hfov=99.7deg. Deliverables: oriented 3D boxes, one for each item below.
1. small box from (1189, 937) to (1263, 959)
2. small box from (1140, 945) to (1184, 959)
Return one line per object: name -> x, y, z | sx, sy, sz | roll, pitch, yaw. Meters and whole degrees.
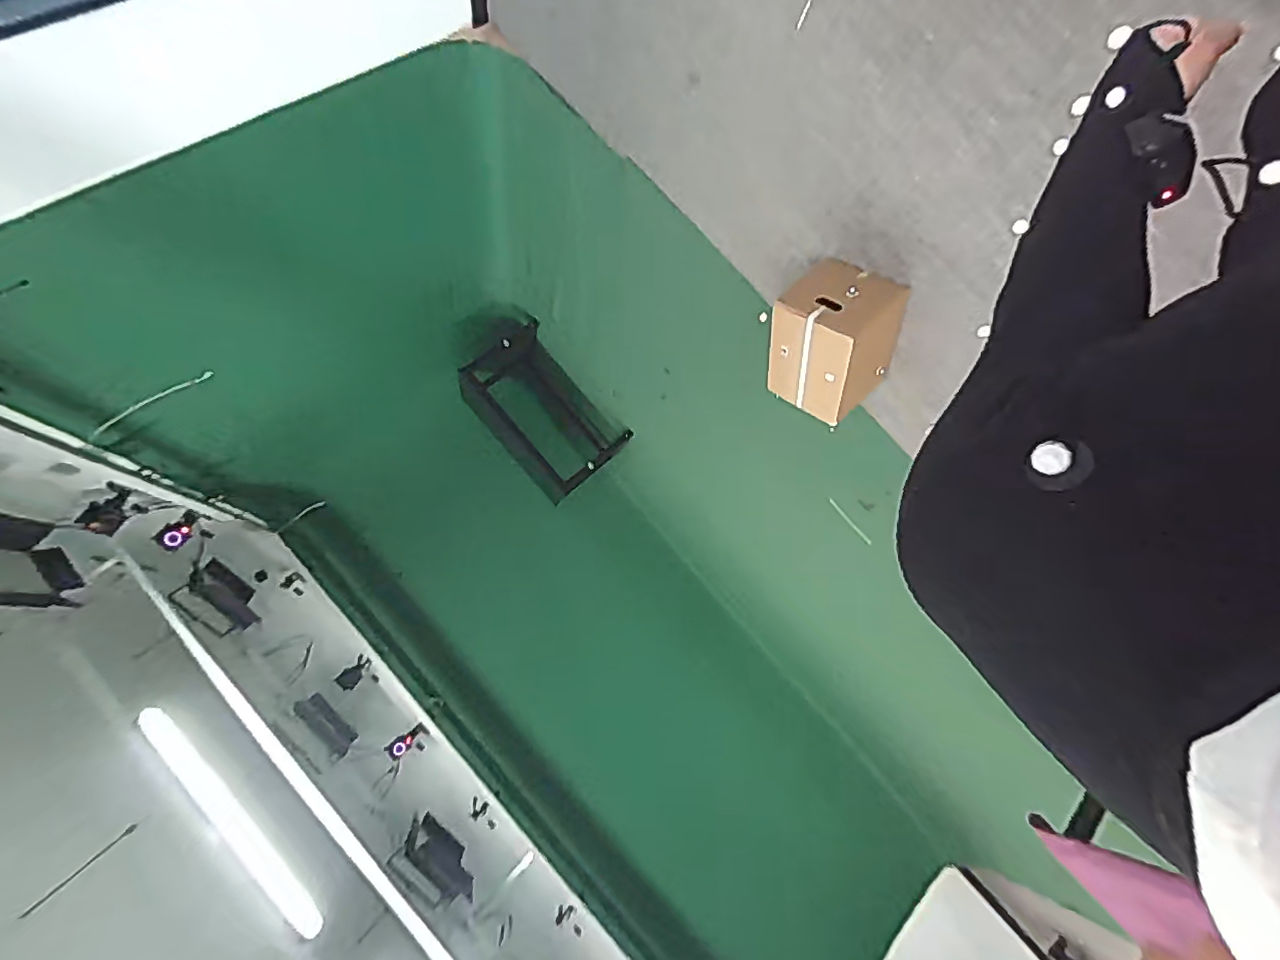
small box -> 1.592, 1.360, 1.415 | 0.168, 0.176, 0.179 | 49, 160, 3
small box -> 1.678, 1.599, 1.665 | 0.168, 0.176, 0.179 | 50, 160, 3
